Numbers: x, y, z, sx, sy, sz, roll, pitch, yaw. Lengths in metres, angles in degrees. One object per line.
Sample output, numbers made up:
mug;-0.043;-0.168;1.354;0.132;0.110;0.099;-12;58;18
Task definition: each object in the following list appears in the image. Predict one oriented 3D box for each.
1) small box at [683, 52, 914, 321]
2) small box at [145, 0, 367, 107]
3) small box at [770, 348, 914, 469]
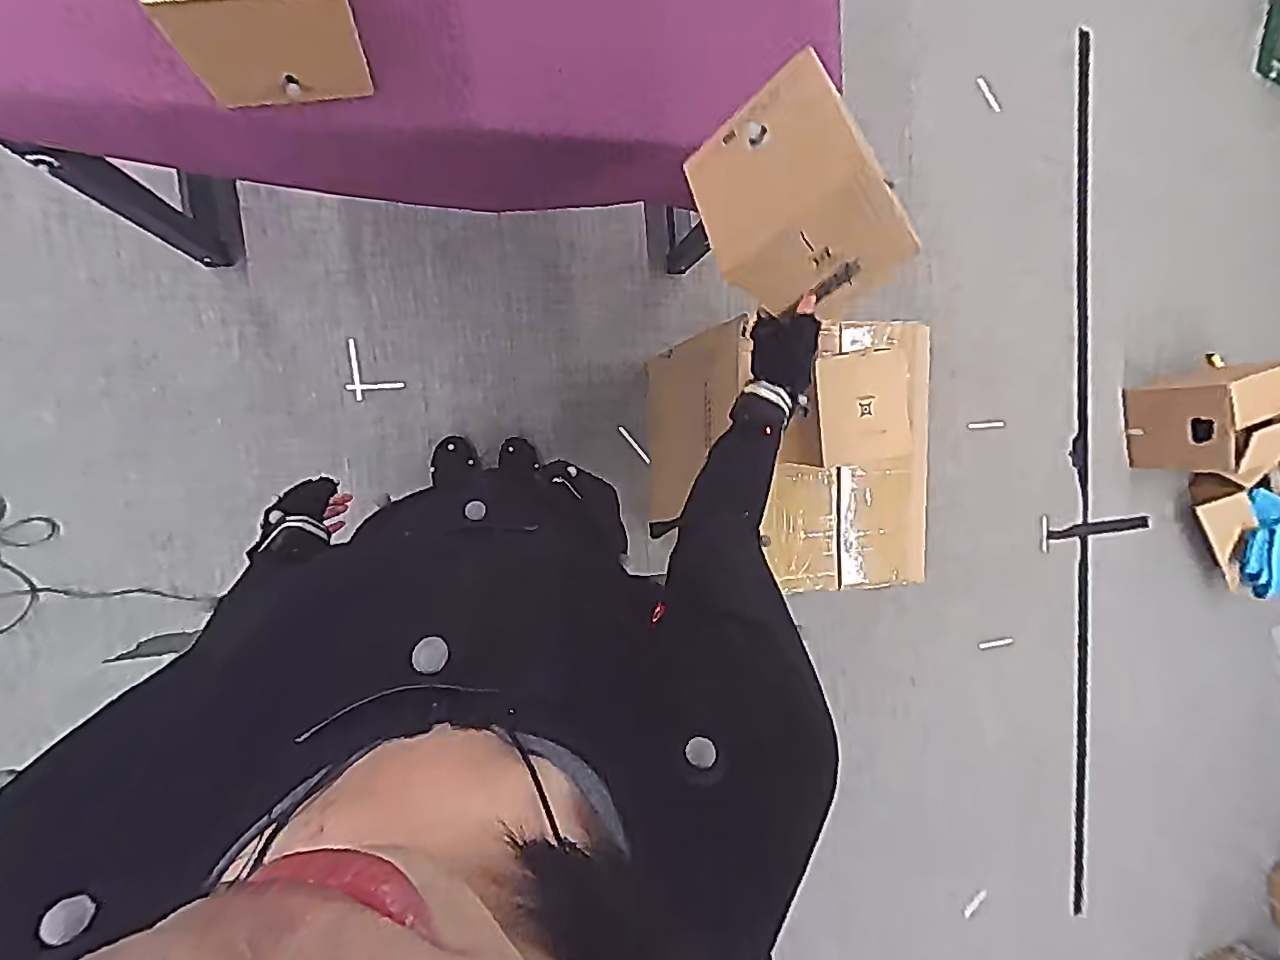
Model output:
small box;0.175;-0.320;0.612;0.179;0.168;0.176;13;54;-47
small box;-0.413;-0.540;0.584;0.179;0.176;0.168;-16;97;-15
small box;0.336;-0.119;0.926;0.168;0.176;0.179;-9;97;-12
